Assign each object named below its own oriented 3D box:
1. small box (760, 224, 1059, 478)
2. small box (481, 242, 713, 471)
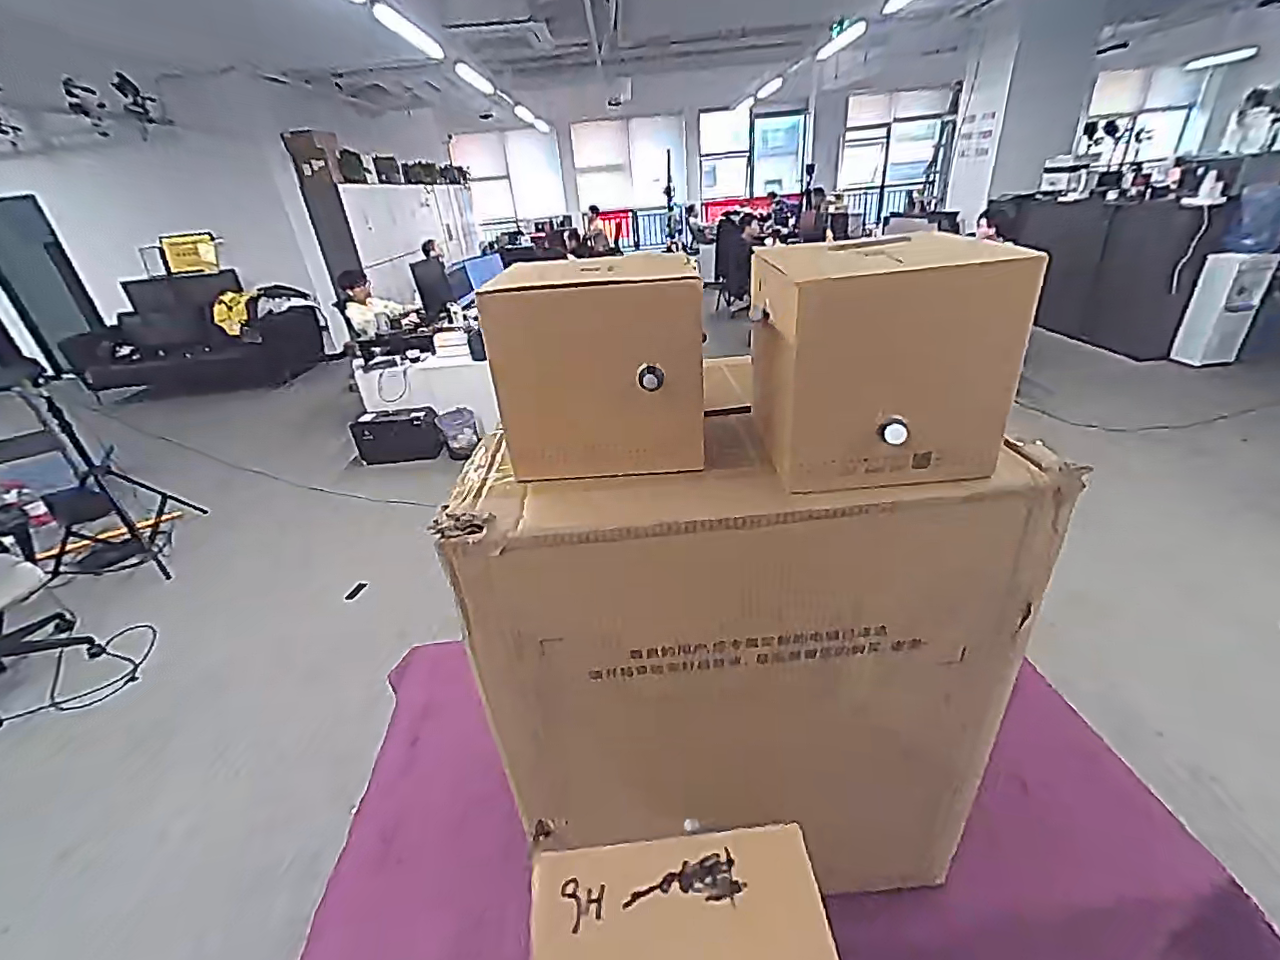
[{"bbox_3d":[0.199,-0.116,0.464,0.168,0.176,0.179,-5,29,3],"label":"small box"},{"bbox_3d":[-0.028,-0.120,0.509,0.179,0.176,0.168,-4,28,2],"label":"small box"}]
